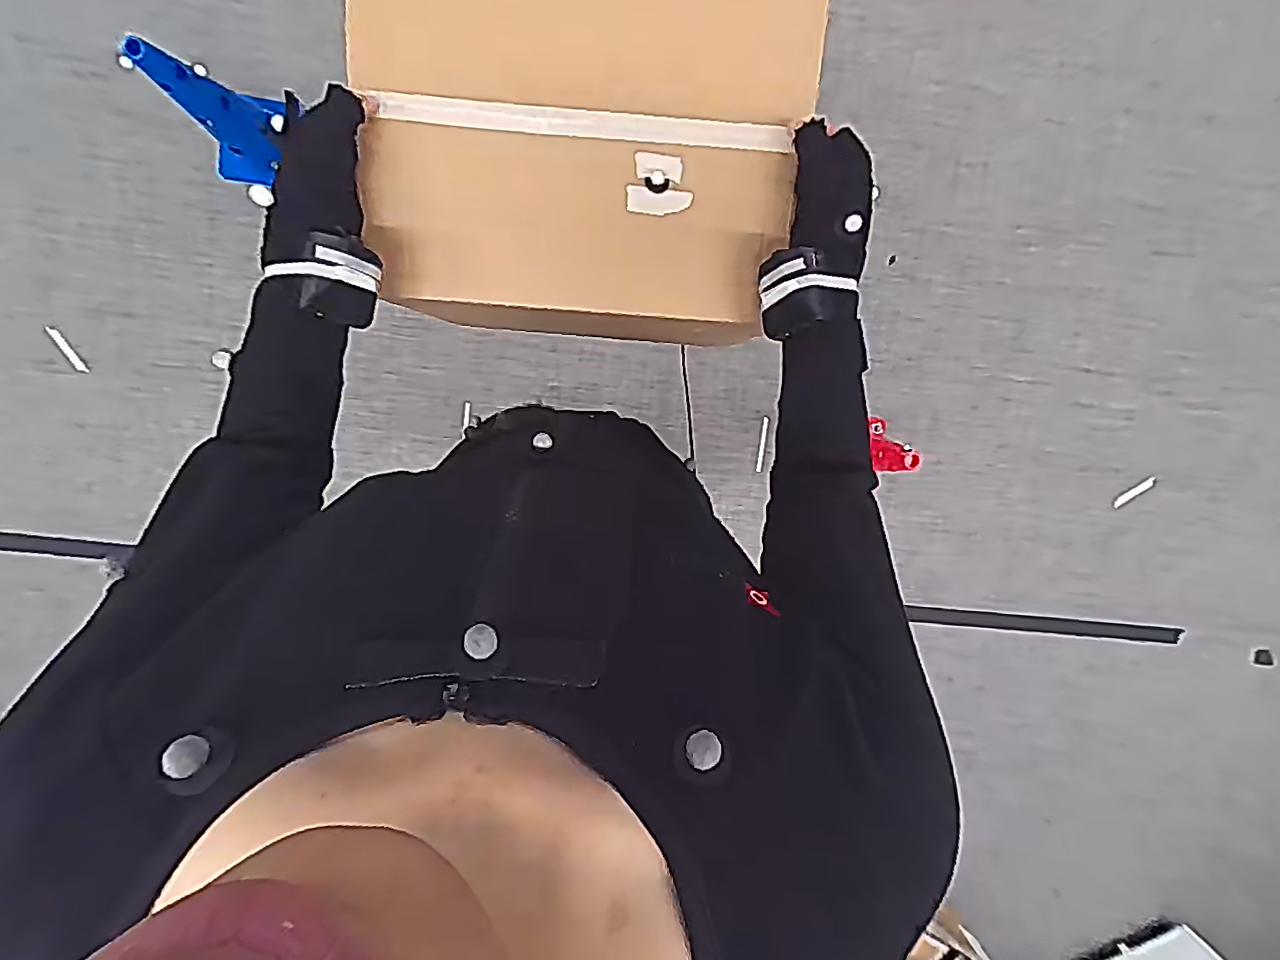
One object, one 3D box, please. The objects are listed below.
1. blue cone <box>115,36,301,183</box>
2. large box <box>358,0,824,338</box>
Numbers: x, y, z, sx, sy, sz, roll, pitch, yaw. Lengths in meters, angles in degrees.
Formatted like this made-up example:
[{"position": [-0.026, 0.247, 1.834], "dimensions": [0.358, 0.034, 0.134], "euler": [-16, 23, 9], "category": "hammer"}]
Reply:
[{"position": [-0.927, -0.811, 1.162], "dimensions": [0.192, 0.380, 0.193], "euler": [9, 98, -2], "category": "blue cone"}, {"position": [-0.053, -0.344, 0.624], "dimensions": [0.408, 0.320, 0.320], "euler": [3, 101, -3], "category": "large box"}]
